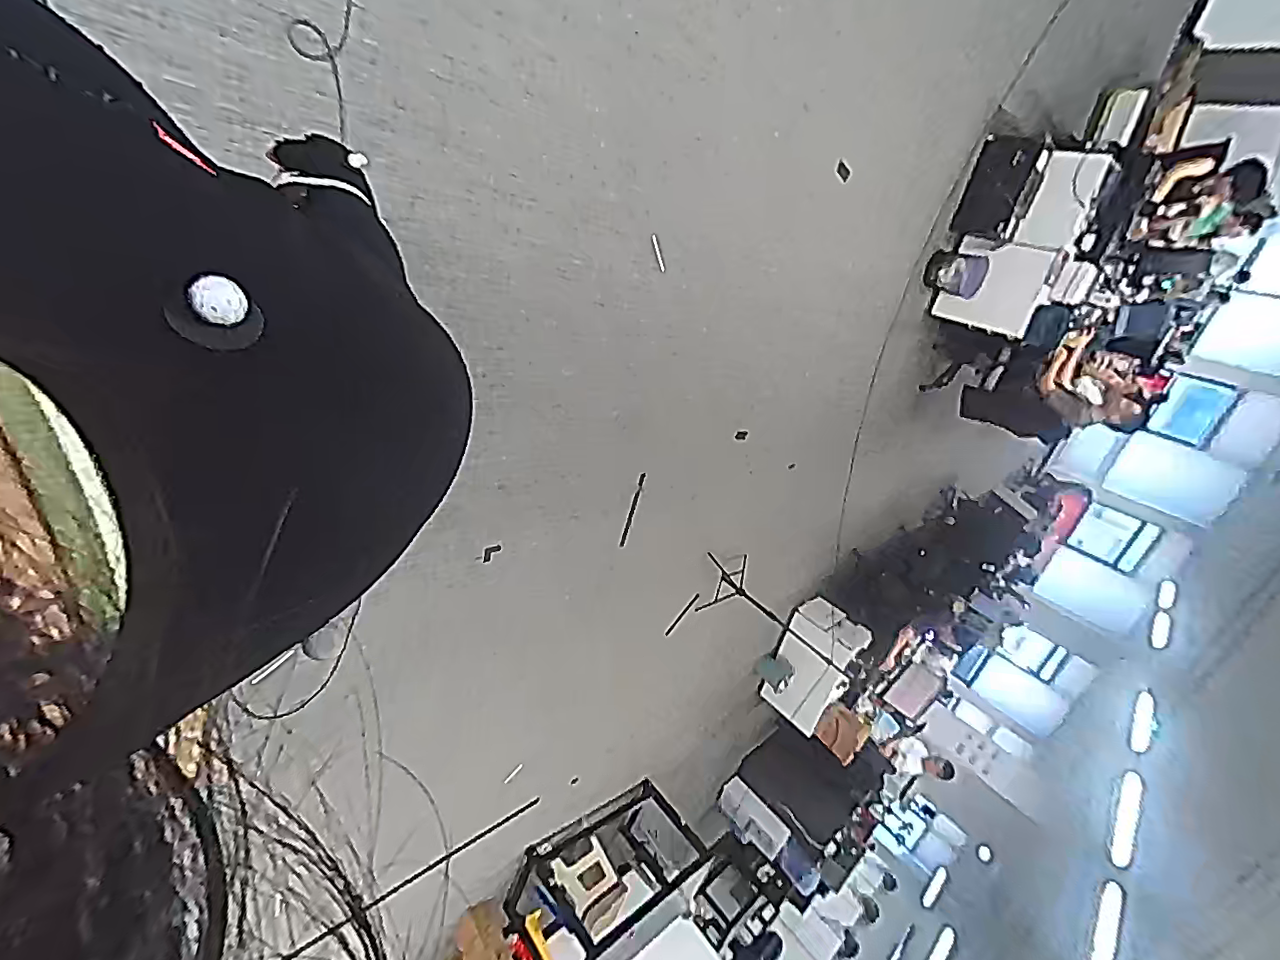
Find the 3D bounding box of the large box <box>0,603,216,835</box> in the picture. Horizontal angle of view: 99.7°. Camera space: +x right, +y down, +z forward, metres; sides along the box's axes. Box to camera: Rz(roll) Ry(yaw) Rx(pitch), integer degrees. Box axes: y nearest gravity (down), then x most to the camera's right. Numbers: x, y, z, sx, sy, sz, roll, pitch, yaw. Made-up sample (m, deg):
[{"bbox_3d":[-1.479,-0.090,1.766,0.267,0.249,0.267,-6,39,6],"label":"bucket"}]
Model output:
[{"bbox_3d":[-1.273,0.526,1.255,0.408,0.320,0.320,0,117,-47],"label":"large box"}]
